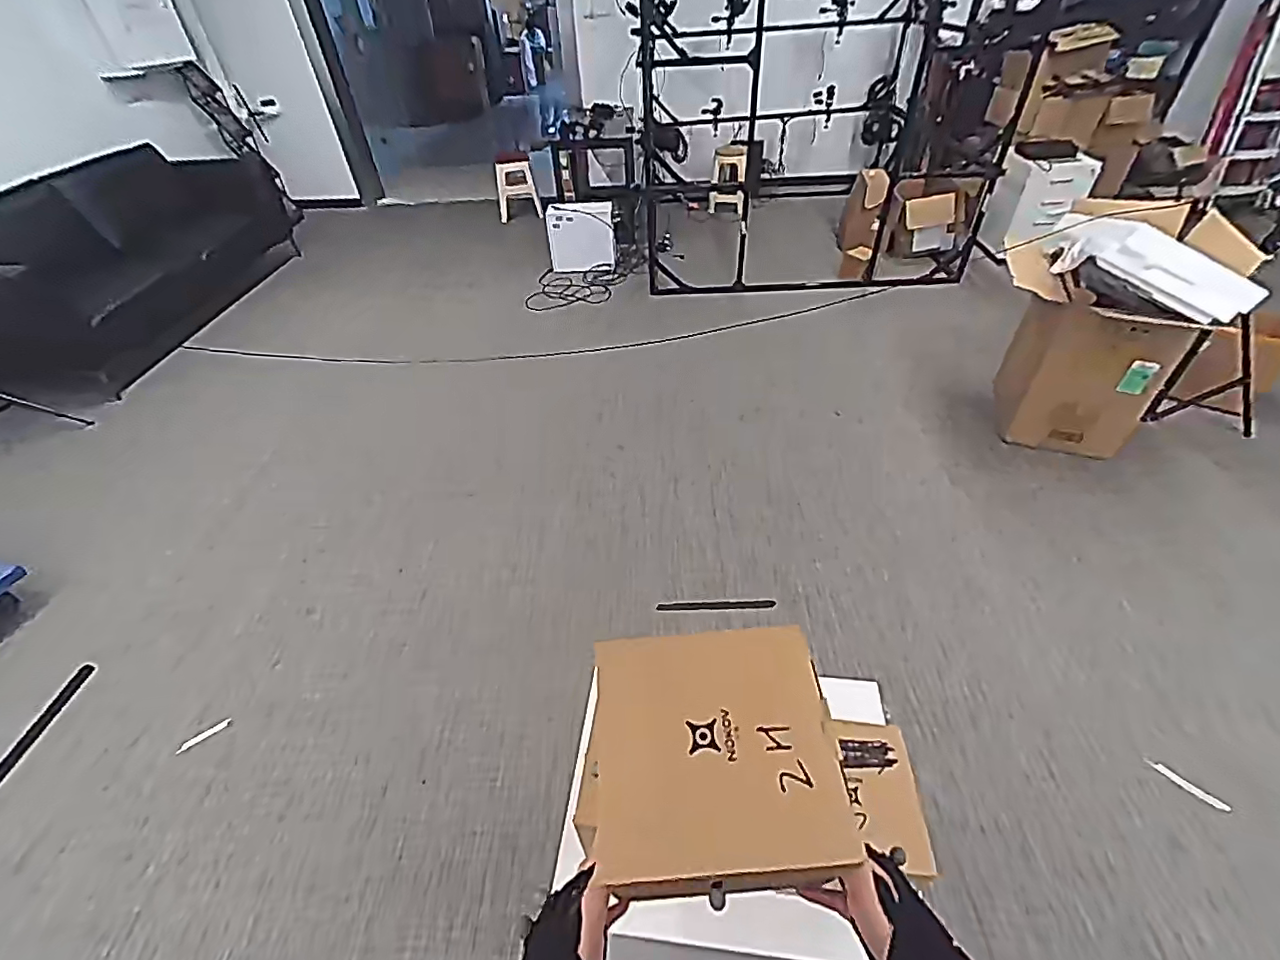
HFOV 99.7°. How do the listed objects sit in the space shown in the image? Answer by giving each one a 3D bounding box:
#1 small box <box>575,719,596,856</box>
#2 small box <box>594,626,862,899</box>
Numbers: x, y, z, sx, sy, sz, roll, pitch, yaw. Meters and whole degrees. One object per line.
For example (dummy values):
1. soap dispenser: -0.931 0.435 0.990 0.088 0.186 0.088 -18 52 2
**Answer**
1. small box: 0.013 0.434 0.778 0.168 0.176 0.179 3 42 8
2. small box: 0.059 0.242 0.457 0.179 0.176 0.168 -5 50 0
